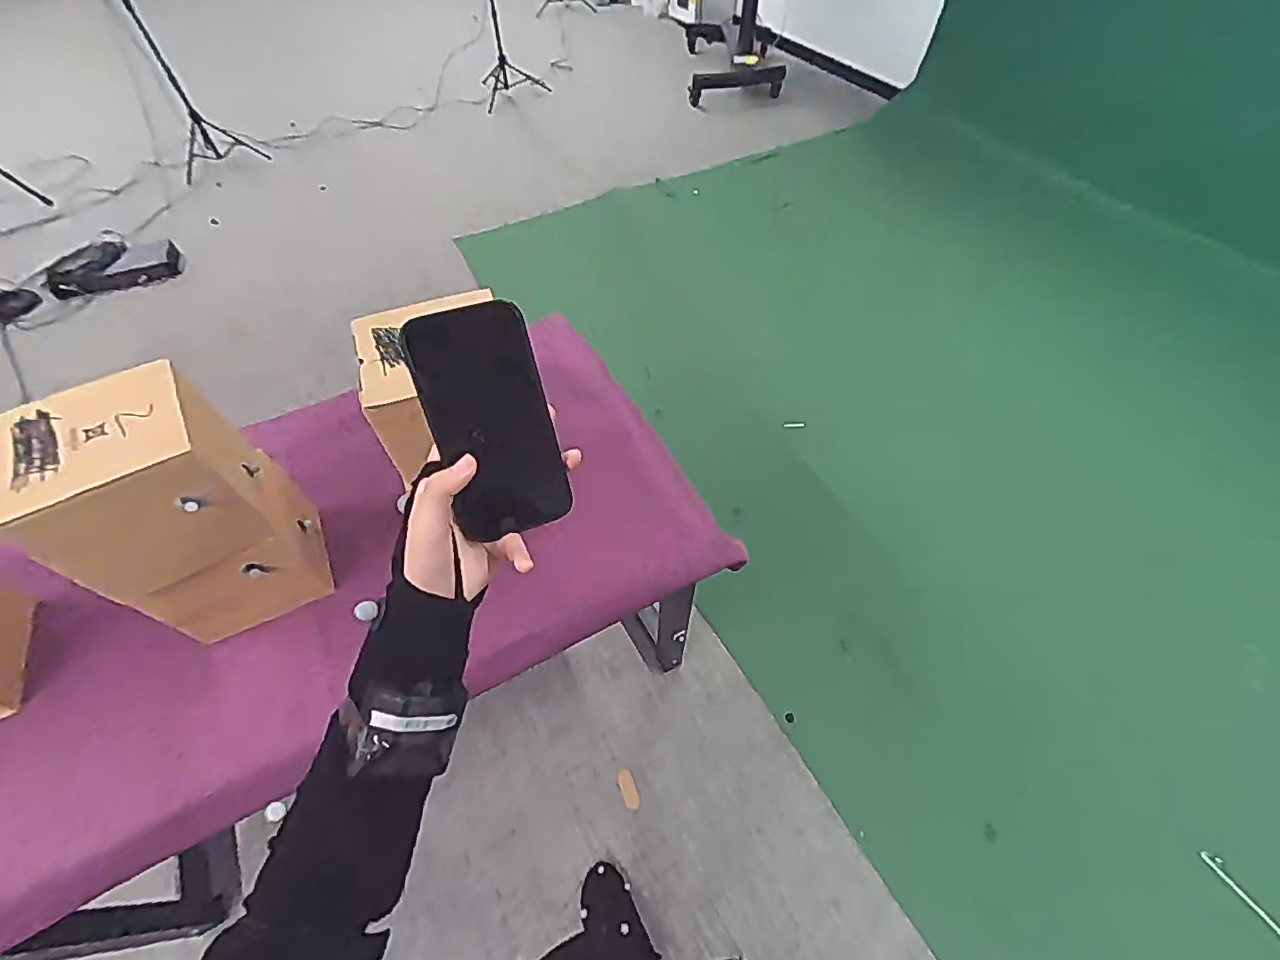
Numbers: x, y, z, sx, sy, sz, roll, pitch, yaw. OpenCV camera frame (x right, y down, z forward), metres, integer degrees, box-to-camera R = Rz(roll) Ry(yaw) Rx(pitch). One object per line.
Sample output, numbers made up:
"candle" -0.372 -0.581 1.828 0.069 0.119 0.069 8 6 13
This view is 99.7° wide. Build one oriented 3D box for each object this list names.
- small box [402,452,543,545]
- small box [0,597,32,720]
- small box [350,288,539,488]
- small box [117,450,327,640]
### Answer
"small box" -0.258 -0.027 0.839 0.179 0.176 0.168 -18 56 -11
"small box" -0.920 0.229 0.663 0.168 0.176 0.179 -23 57 -15
"small box" -0.245 -0.115 0.700 0.179 0.176 0.168 -18 56 -13
"small box" -0.565 0.093 0.754 0.179 0.176 0.168 -24 57 -15
